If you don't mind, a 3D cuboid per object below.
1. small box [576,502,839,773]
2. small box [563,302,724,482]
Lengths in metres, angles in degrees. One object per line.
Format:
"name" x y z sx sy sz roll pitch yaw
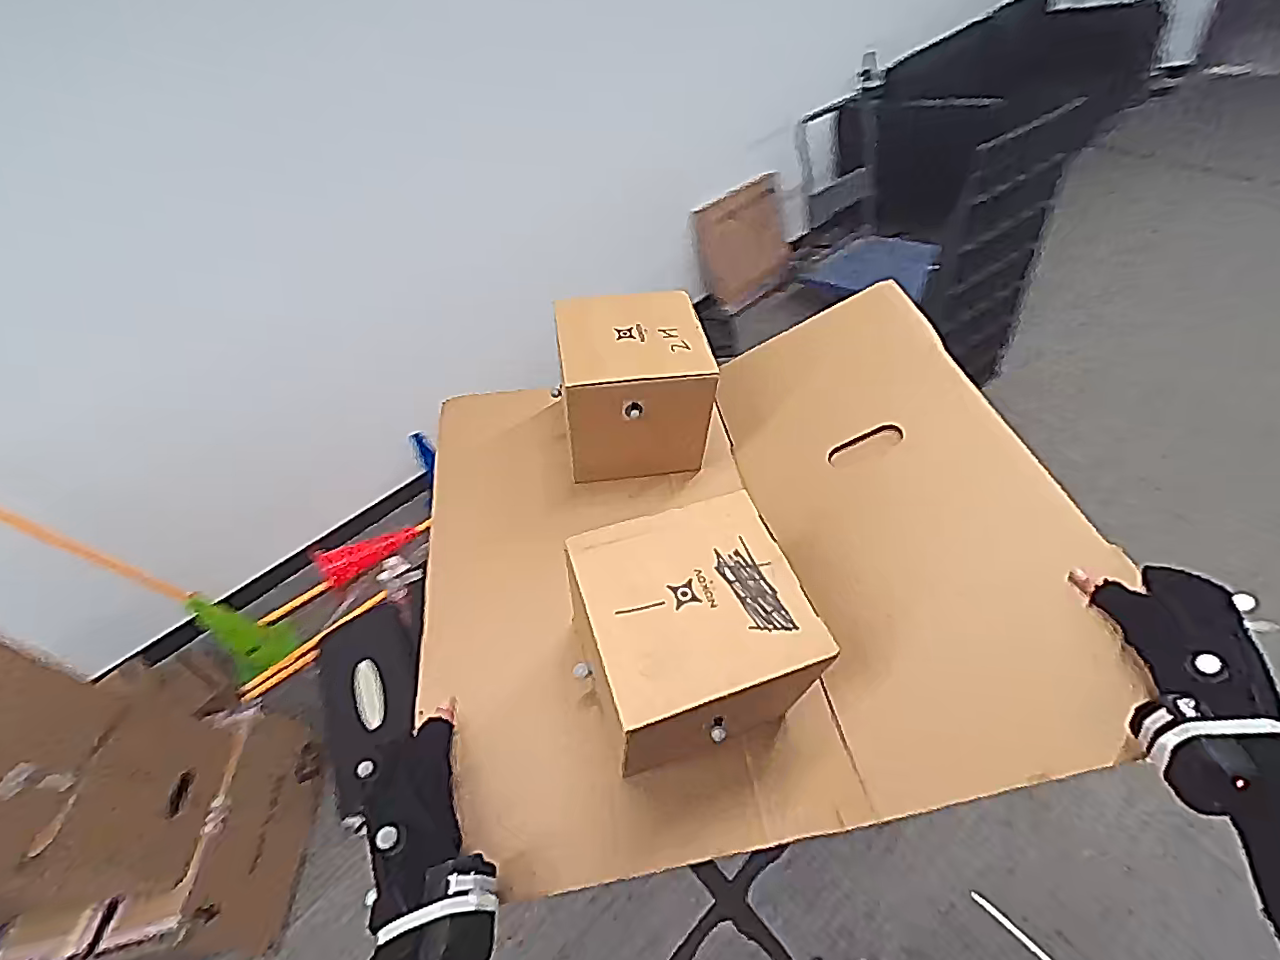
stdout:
"small box" 0.045 0.149 0.505 0.179 0.176 0.168 -14 54 -13
"small box" -0.003 -0.111 0.707 0.179 0.176 0.168 -5 52 -7
